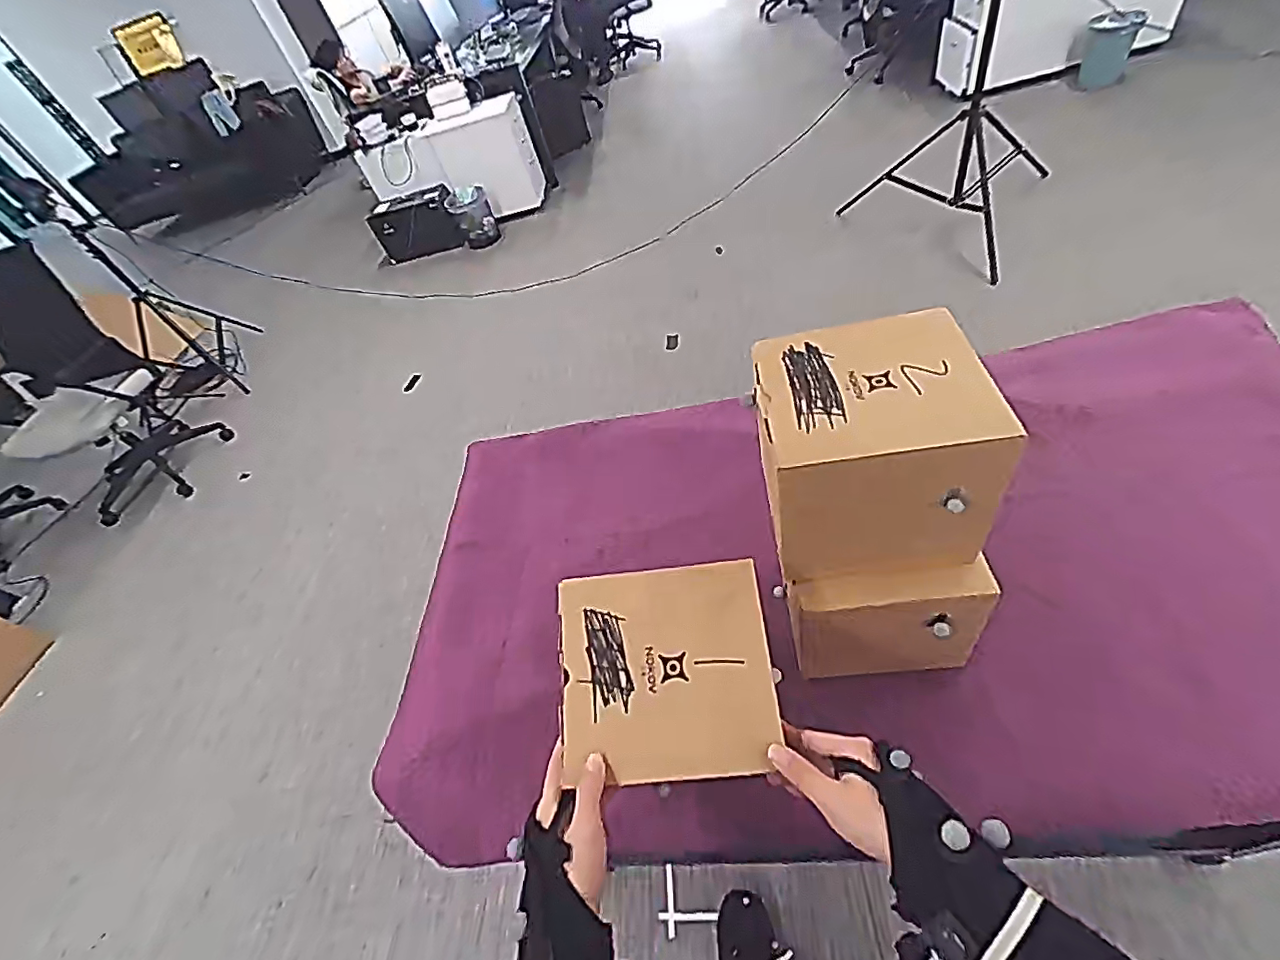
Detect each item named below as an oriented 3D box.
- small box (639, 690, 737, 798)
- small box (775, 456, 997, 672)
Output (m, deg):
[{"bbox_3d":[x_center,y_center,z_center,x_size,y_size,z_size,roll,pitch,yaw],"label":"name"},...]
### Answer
[{"bbox_3d":[0.101,0.544,1.109,0.179,0.176,0.168,-9,50,10],"label":"small box"},{"bbox_3d":[0.252,0.099,0.601,0.179,0.176,0.168,-9,47,11],"label":"small box"}]
